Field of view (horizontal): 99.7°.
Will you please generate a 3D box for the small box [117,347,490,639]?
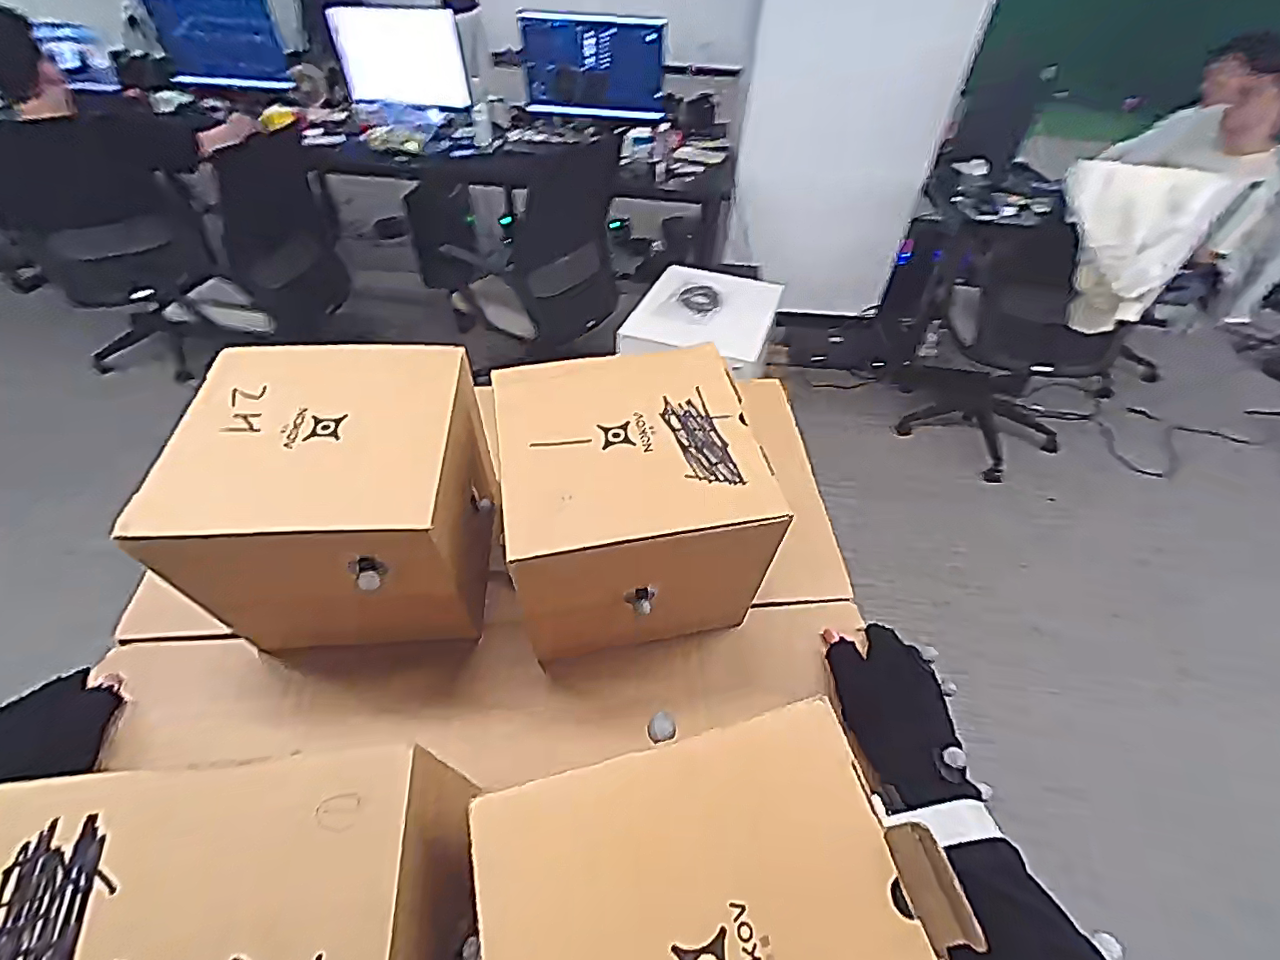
[{"bbox_3d":[-0.223,0.015,0.427,0.179,0.176,0.168,-1,52,-5],"label":"small box"}]
